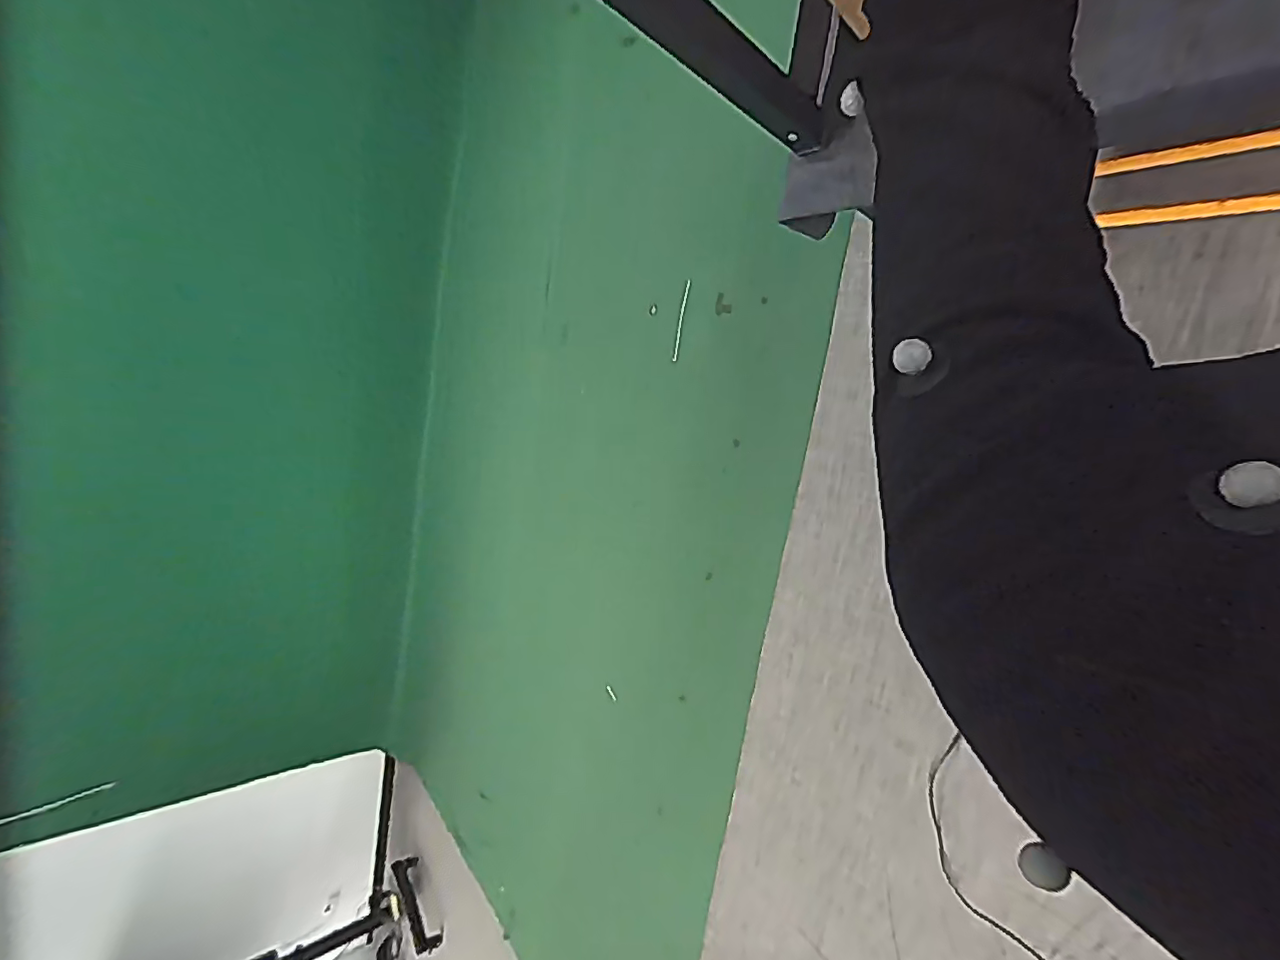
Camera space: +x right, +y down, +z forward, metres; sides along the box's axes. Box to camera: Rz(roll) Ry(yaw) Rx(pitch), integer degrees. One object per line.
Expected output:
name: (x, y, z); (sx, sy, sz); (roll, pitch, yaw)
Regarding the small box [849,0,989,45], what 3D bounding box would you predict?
small box: (0.366, -0.730, 0.703); (0.168, 0.176, 0.179); (17, 101, 47)
